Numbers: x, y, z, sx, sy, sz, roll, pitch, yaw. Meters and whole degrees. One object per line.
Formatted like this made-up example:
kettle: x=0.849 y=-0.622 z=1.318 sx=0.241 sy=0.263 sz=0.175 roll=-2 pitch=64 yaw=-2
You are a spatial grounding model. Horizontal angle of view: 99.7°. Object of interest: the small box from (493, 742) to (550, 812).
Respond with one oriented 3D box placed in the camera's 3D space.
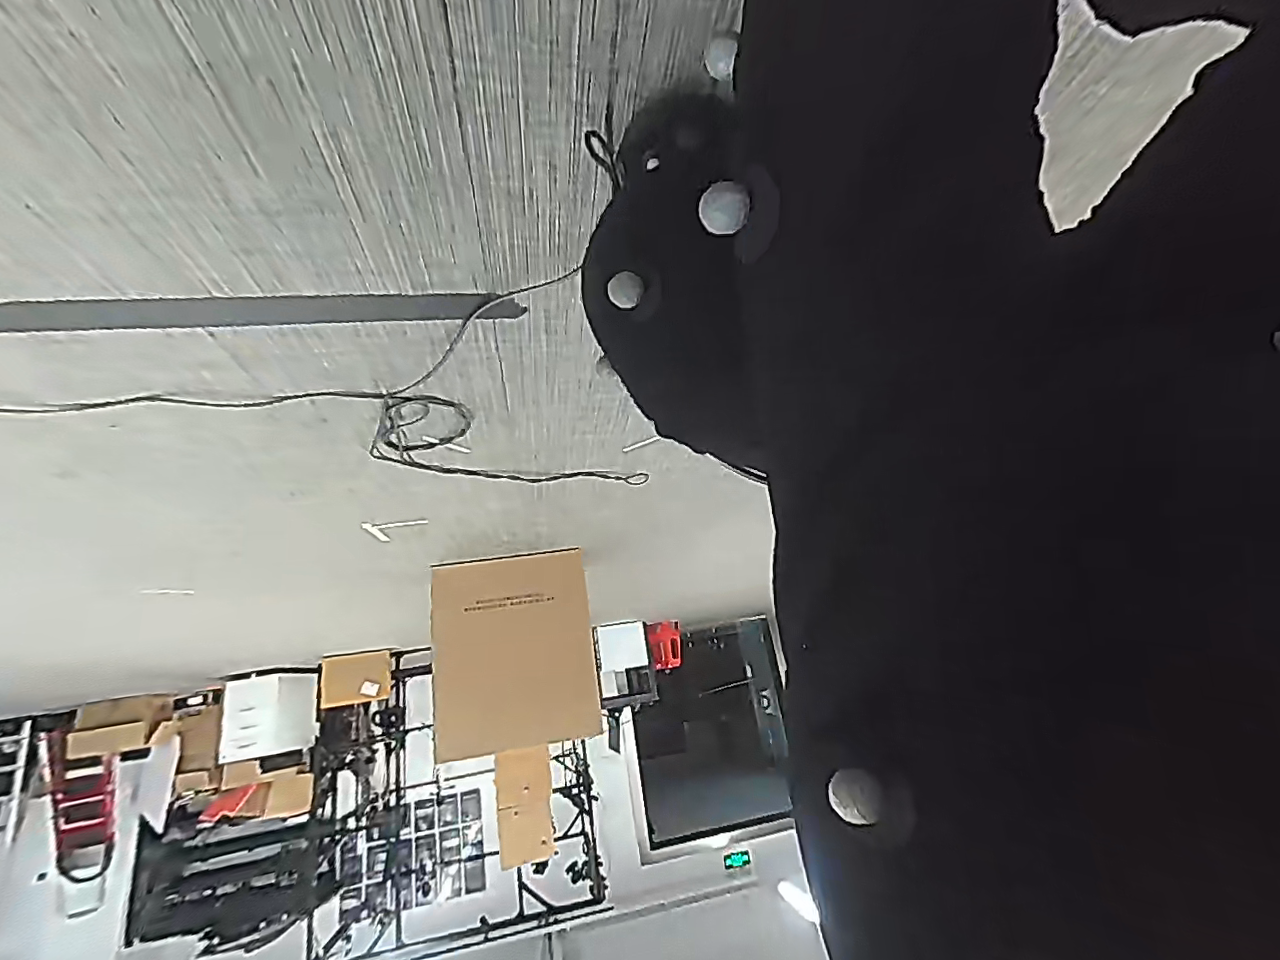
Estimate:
small box: x=-0.398 y=0.991 z=1.817 sx=0.179 sy=0.176 sz=0.168 roll=-7 pitch=160 yaw=-11
